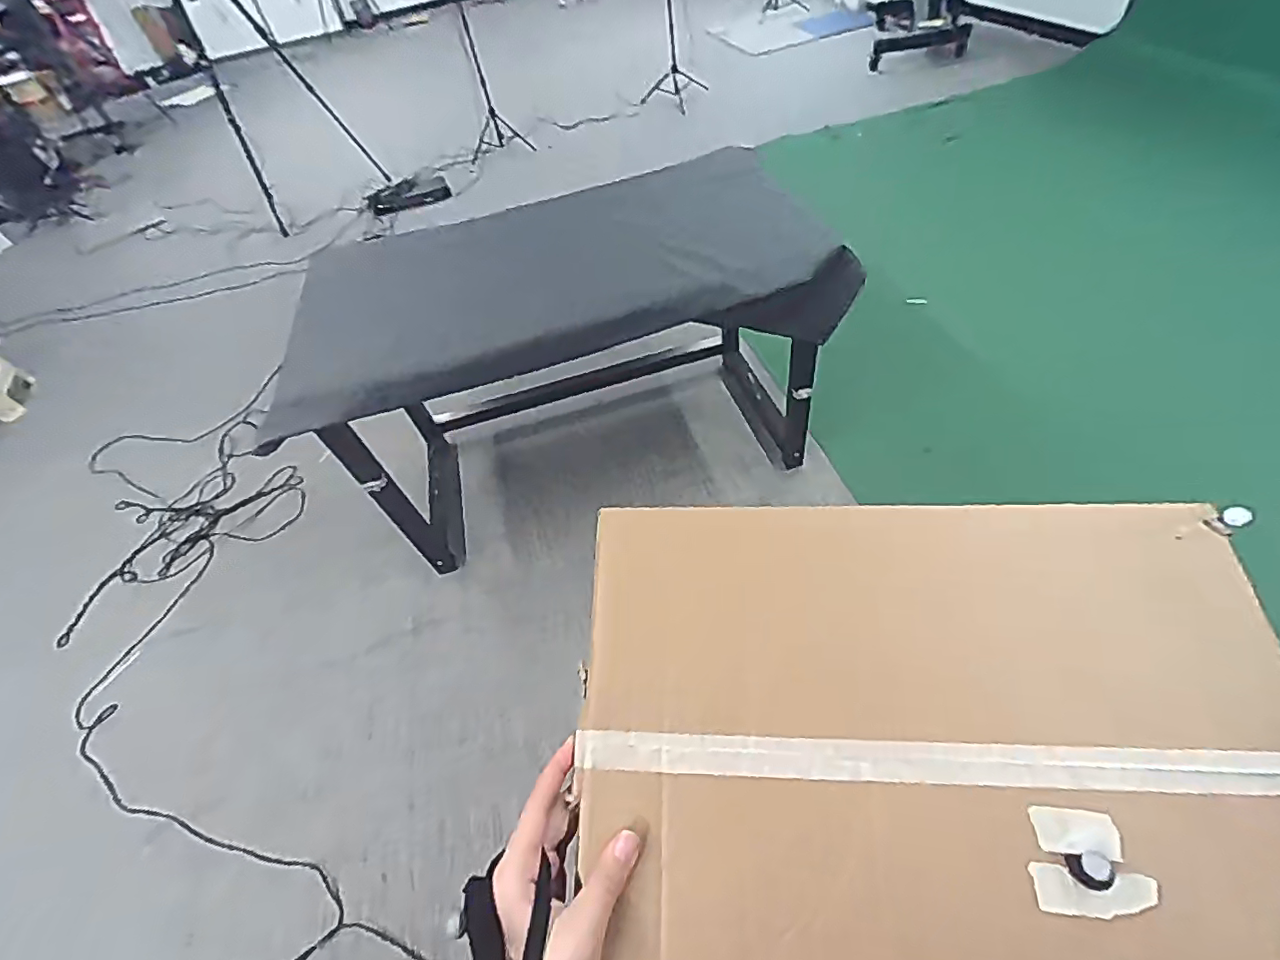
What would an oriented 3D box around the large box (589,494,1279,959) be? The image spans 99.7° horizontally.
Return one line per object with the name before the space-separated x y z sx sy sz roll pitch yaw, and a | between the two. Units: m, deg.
large box | 0.180 0.217 0.462 0.408 0.320 0.320 -1 66 5
